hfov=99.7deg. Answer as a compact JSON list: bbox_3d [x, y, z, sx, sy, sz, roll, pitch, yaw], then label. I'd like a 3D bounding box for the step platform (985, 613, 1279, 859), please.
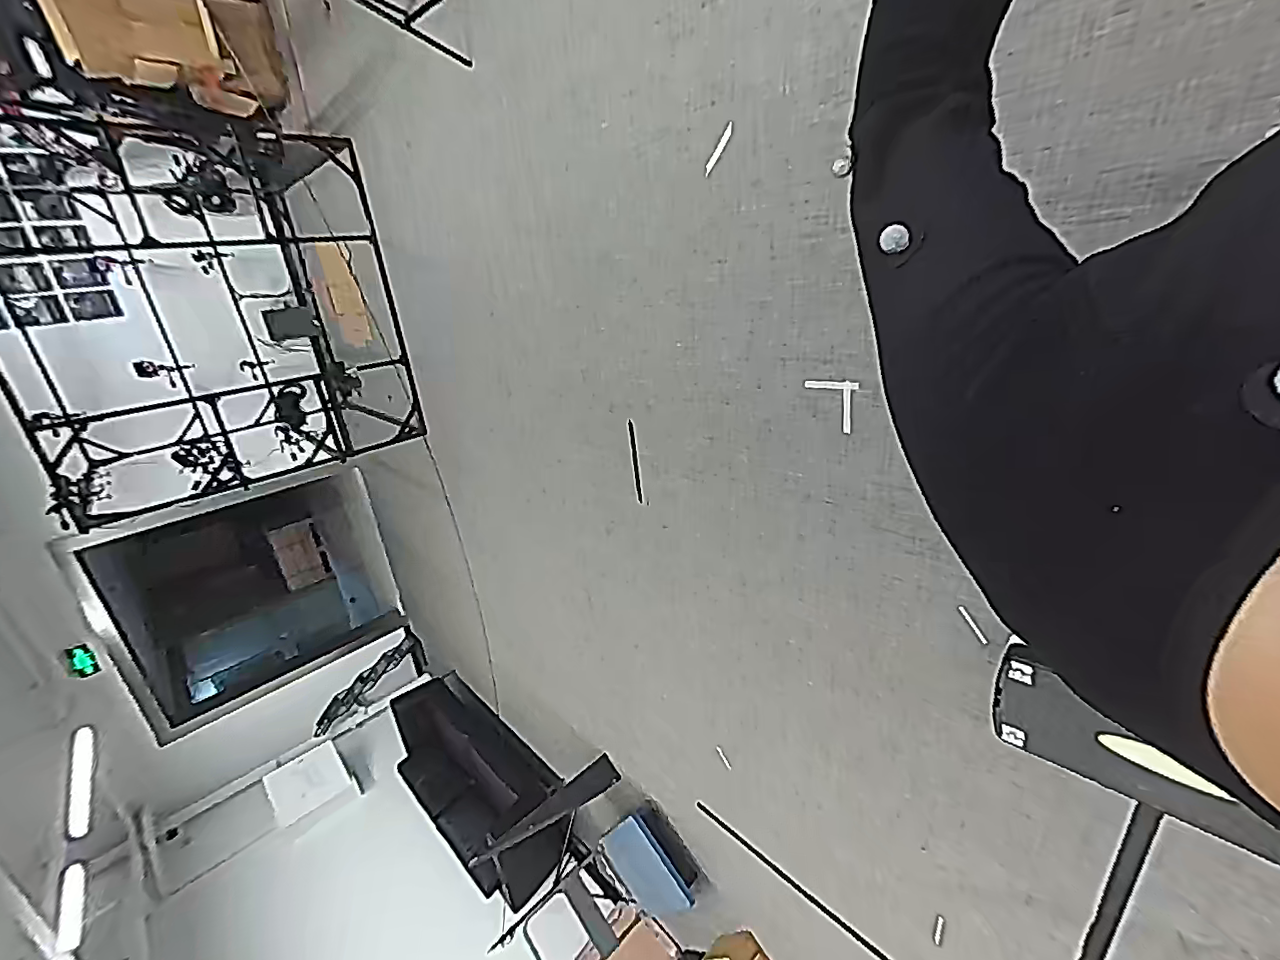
[{"bbox_3d":[1.171,0.557,1.200,0.684,0.204,0.286,15,120,47],"label":"step platform"}]
